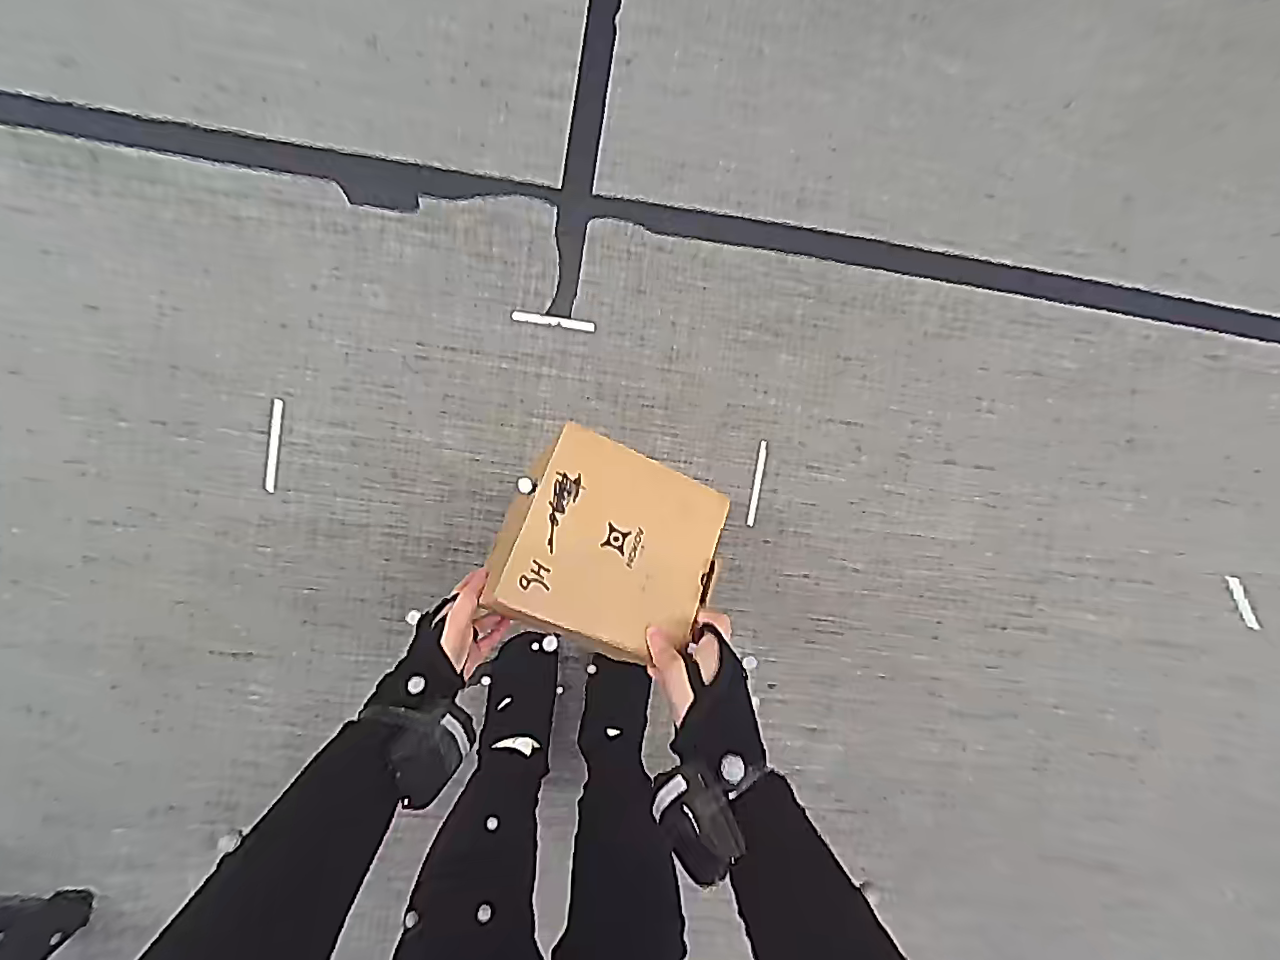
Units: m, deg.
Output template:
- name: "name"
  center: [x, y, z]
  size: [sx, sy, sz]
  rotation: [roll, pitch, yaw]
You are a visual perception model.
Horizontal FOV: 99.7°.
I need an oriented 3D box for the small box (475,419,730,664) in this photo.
- name: "small box"
  center: [-0.044, 0.068, 0.540]
  size: [0.179, 0.176, 0.168]
  rotation: [26, 68, -16]
